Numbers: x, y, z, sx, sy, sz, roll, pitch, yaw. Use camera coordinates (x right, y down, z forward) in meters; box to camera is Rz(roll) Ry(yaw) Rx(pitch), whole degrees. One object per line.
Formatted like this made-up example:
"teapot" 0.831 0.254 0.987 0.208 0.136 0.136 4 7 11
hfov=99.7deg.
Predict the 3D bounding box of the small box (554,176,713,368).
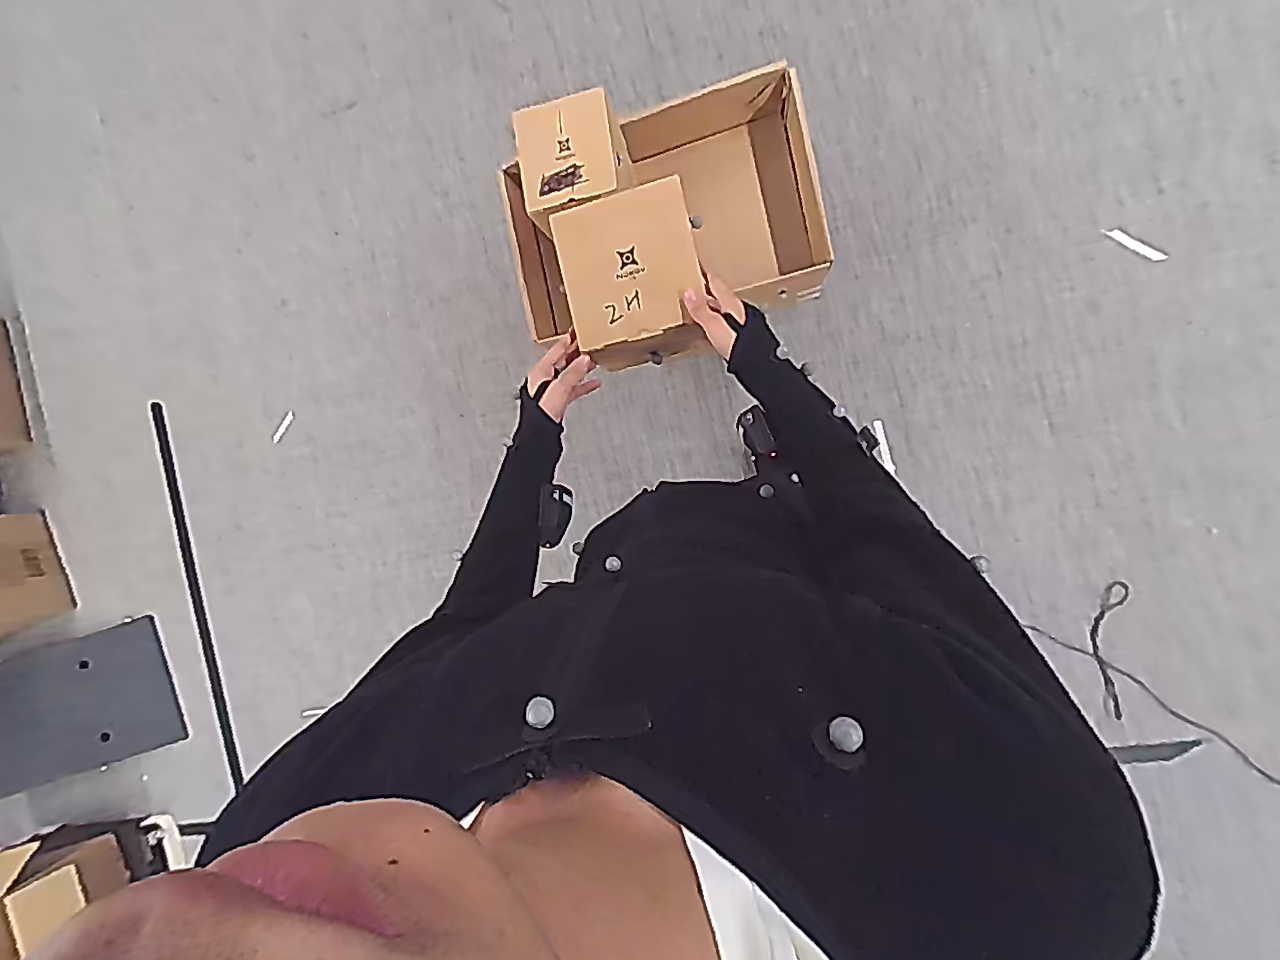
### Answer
"small box" 0.000 -0.265 0.731 0.168 0.176 0.179 -13 92 9

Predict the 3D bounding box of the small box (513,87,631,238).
"small box" -0.112 -0.558 0.986 0.168 0.176 0.179 -8 91 11
